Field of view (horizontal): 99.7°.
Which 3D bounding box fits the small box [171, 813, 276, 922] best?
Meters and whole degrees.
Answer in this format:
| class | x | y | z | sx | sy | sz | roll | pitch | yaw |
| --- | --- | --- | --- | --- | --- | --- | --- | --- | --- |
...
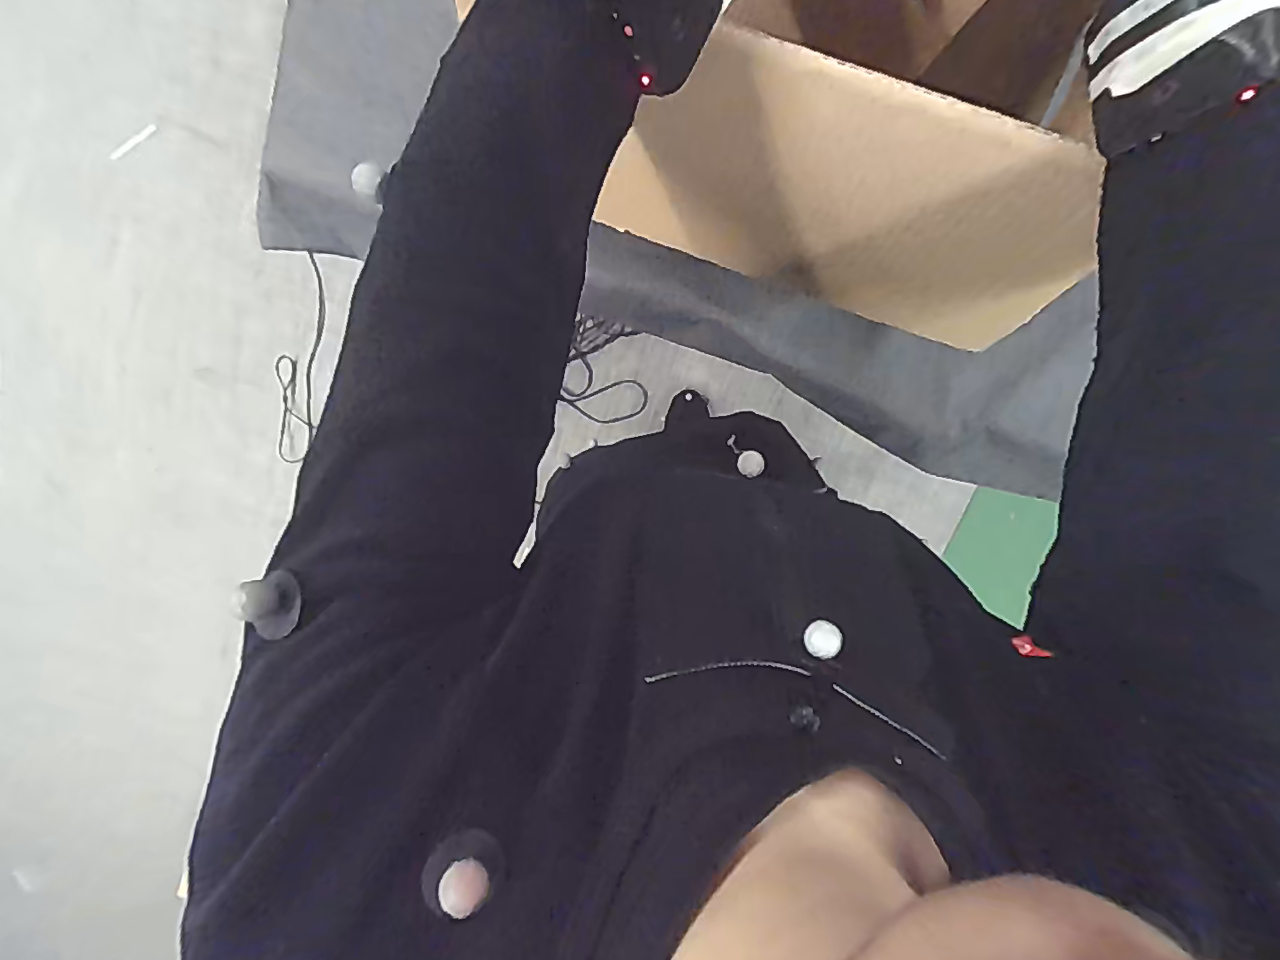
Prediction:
| class | x | y | z | sx | sy | sz | roll | pitch | yaw |
| --- | --- | --- | --- | --- | --- | --- | --- | --- | --- |
| small box | -1.231 | 1.143 | 1.610 | 0.168 | 0.176 | 0.179 | 24 | 103 | 1 |
